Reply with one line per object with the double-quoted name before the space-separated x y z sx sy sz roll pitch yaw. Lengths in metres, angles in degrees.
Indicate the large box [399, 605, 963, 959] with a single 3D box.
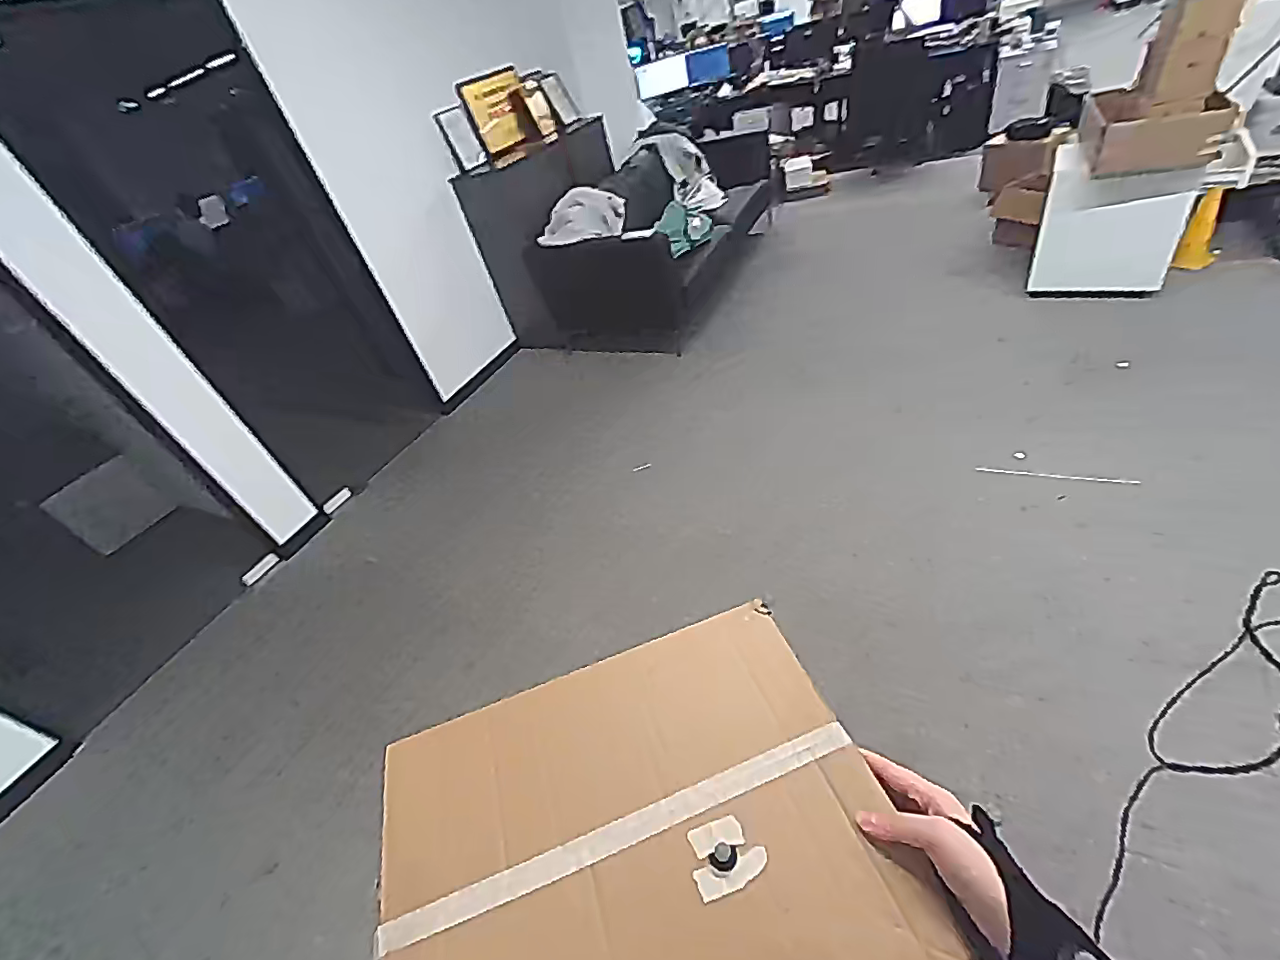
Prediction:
"large box" 0.017 0.400 0.552 0.408 0.320 0.320 -18 42 -9
